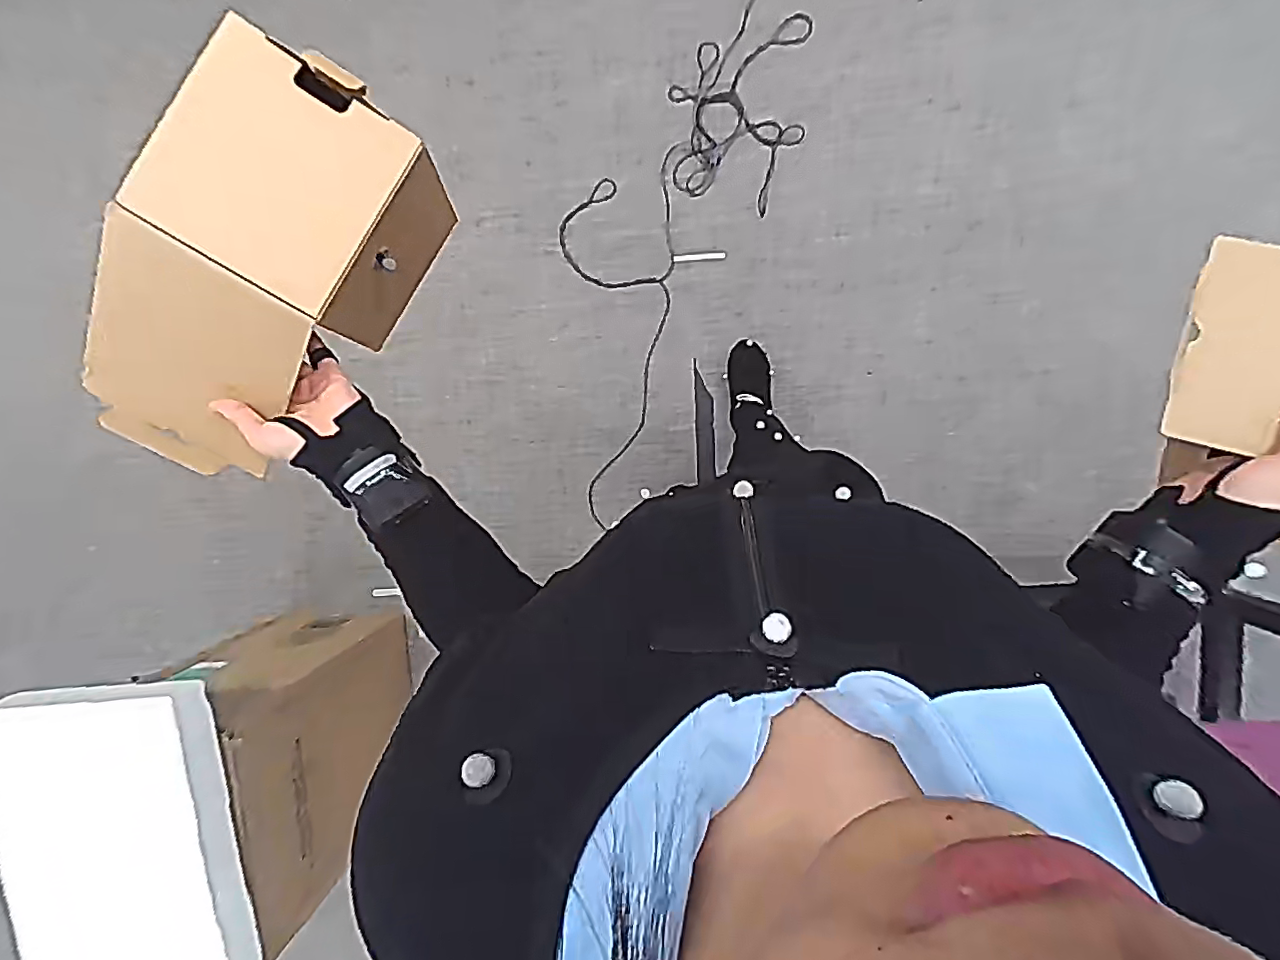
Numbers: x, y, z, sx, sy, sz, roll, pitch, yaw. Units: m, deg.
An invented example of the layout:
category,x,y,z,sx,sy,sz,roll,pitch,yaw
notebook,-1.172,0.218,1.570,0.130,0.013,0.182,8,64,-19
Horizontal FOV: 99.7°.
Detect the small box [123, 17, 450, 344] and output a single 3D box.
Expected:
category,x,y,z,sx,sy,sz,roll,pitch,yaw
small box,-0.301,-0.253,0.511,0.168,0.176,0.179,31,87,-10
